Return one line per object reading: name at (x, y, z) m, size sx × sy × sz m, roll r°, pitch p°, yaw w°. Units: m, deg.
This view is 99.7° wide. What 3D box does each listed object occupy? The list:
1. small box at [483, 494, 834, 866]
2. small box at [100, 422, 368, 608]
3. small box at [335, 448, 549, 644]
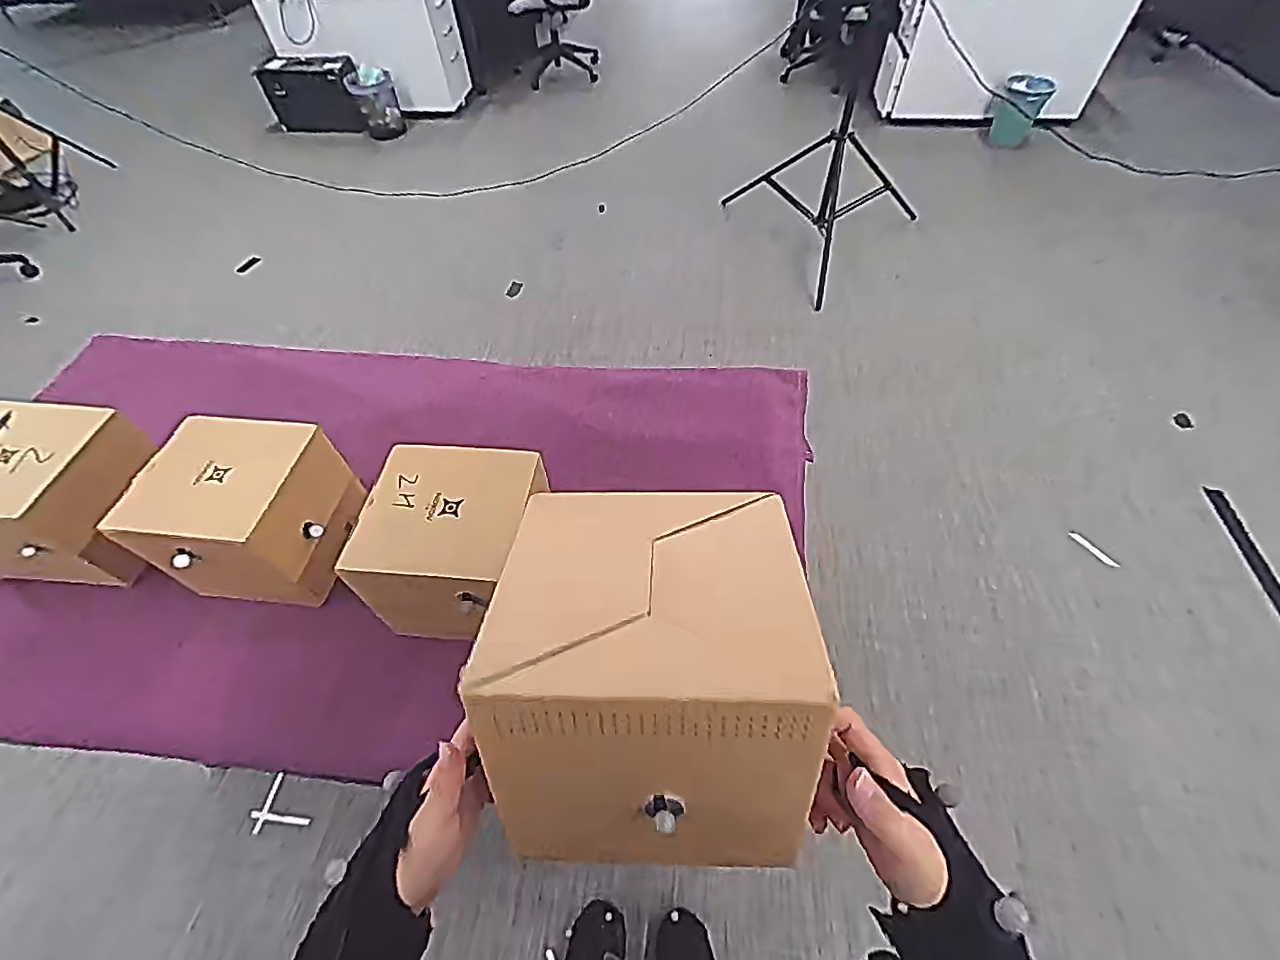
small box at (0.008, 0.121, 0.352) m, size 0.179 × 0.176 × 0.168 m, roll -1°, pitch 34°, yaw 3°
small box at (-0.477, 0.048, 0.676) m, size 0.179 × 0.176 × 0.168 m, roll 4°, pitch 53°, yaw 6°
small box at (-0.203, 0.082, 0.633) m, size 0.179 × 0.176 × 0.168 m, roll 3°, pitch 52°, yaw 5°
